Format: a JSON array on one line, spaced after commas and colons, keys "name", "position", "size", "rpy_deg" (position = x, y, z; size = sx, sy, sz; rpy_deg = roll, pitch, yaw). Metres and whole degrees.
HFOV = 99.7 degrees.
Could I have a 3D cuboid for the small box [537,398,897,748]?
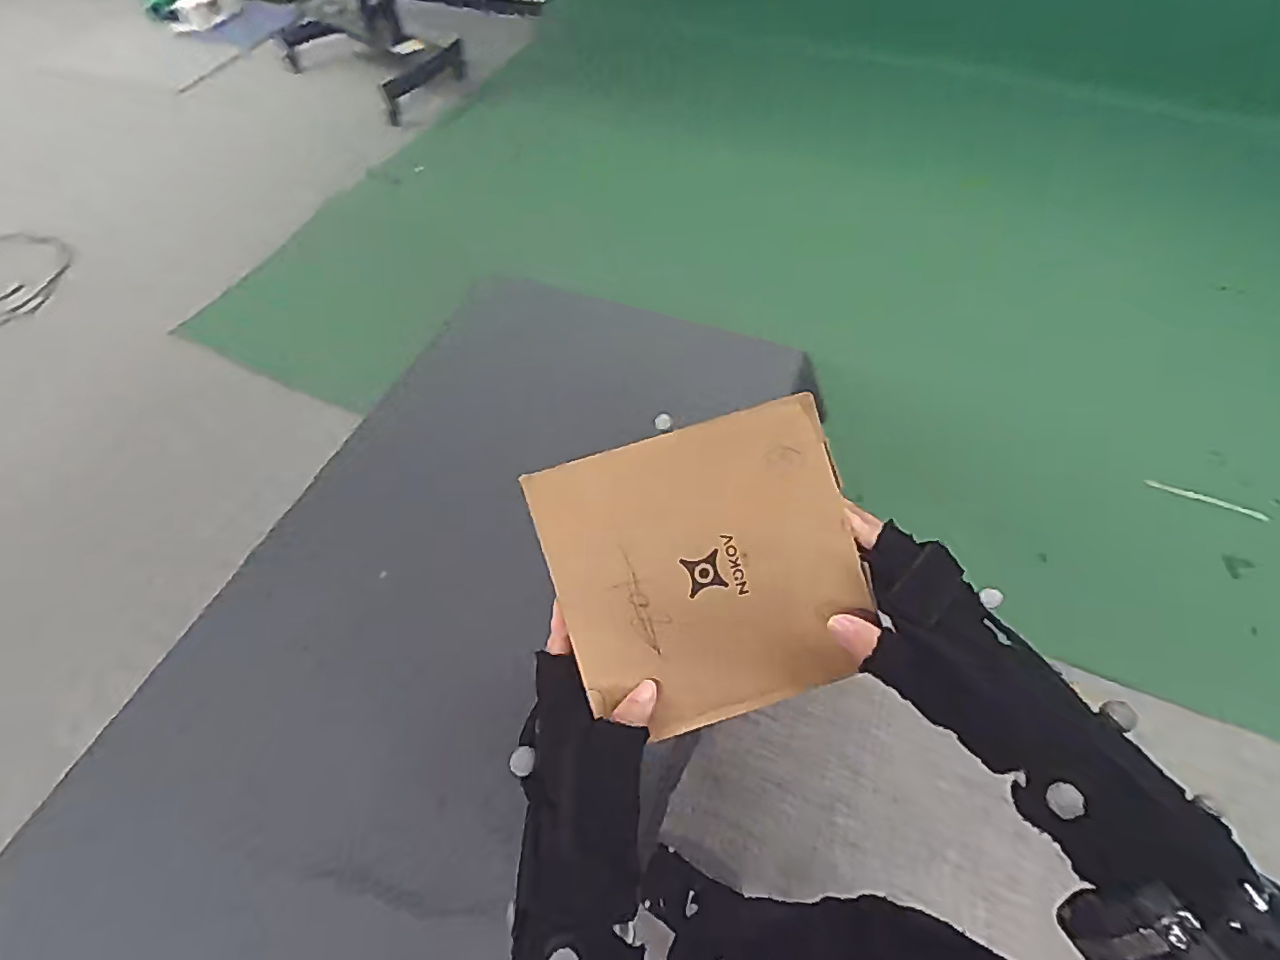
[{"name": "small box", "position": [0.043, 0.052, 0.391], "size": [0.179, 0.176, 0.168], "rpy_deg": [-18, 89, 0]}]
